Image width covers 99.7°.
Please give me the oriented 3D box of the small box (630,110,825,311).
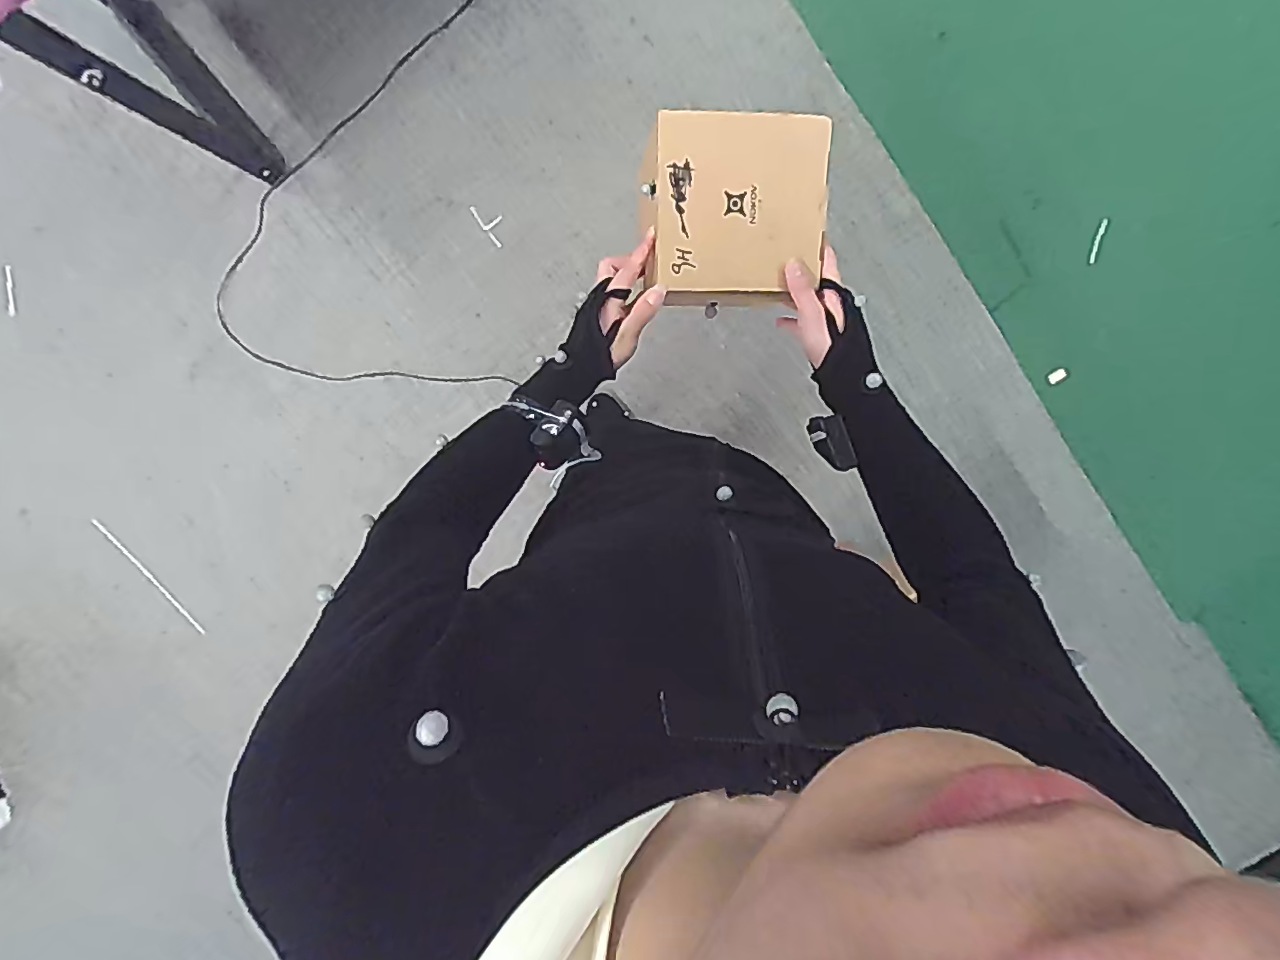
[{"bbox_3d":[0.086,-0.288,0.616,0.179,0.176,0.168,-1,102,-7],"label":"small box"}]
